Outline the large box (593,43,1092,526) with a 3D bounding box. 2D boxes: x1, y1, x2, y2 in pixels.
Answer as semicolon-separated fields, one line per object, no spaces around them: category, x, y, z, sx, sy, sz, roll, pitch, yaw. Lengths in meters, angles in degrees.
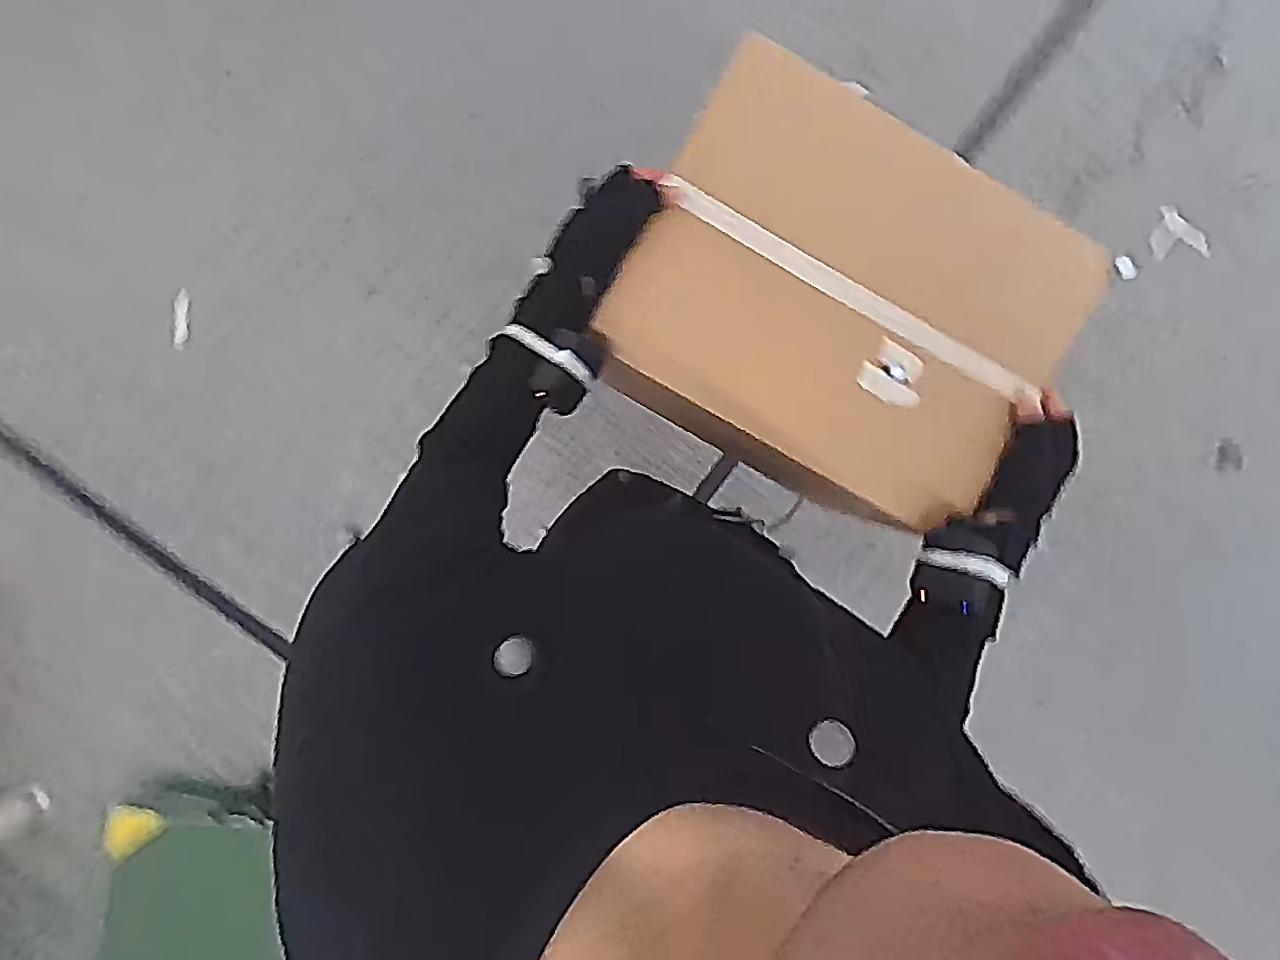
large box;0.187;-0.188;0.661;0.408;0.320;0.320;29;93;-5
